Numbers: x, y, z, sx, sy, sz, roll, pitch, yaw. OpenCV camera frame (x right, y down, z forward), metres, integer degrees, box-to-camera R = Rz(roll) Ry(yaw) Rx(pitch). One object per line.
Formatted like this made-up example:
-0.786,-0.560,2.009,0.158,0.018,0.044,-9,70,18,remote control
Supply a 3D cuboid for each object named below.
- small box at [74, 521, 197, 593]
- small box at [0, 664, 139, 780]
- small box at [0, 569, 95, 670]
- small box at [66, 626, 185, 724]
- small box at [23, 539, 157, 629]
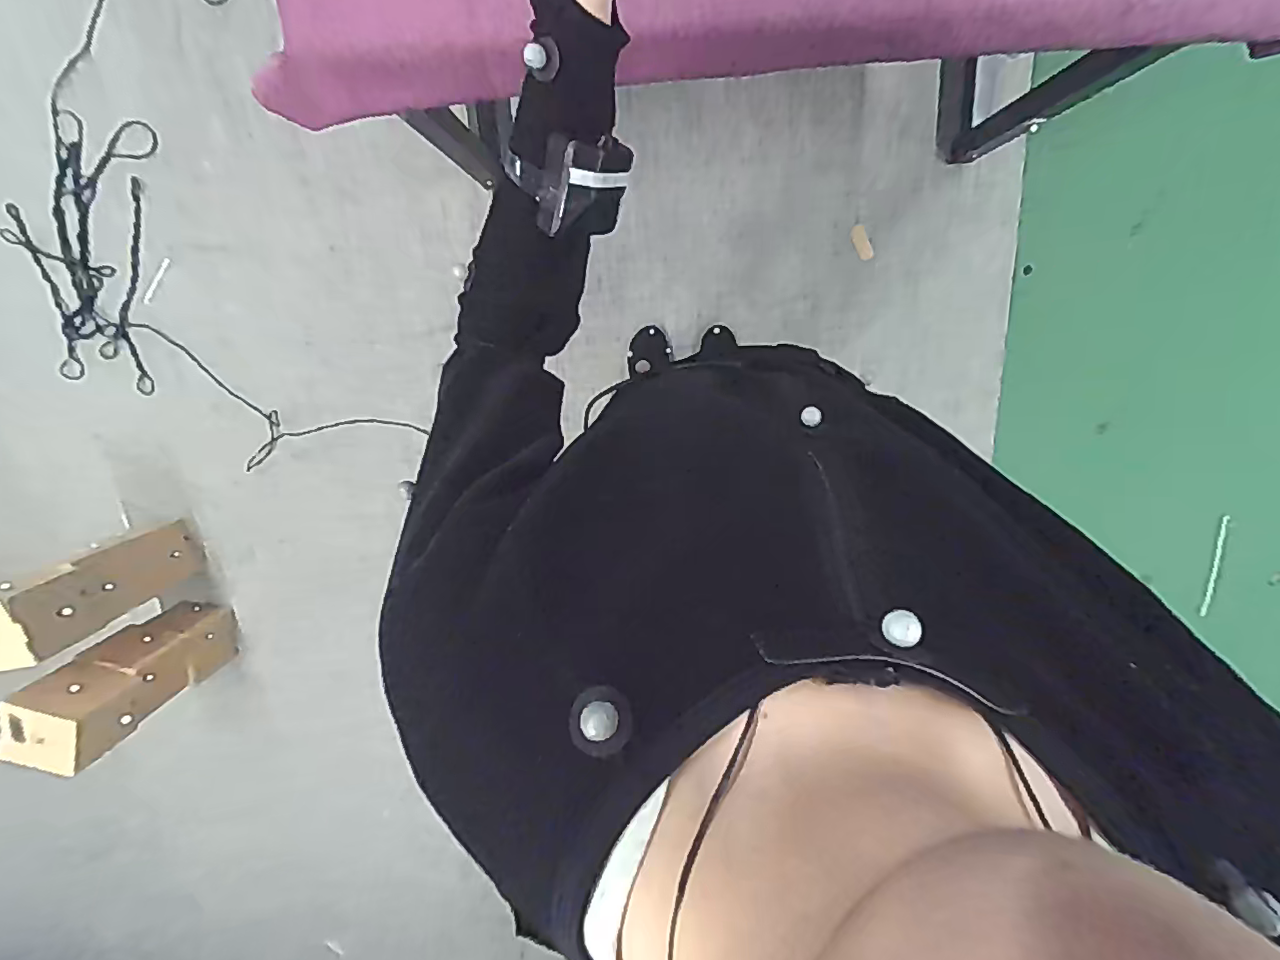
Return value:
-1.417,0.227,1.540,0.179,0.176,0.168,-11,104,5,small box
-1.369,0.569,1.295,0.179,0.176,0.168,18,104,-3,small box
-1.406,0.314,1.226,0.179,0.176,0.168,-8,105,2,small box
-1.373,0.525,1.453,0.168,0.176,0.179,13,104,-1,small box
-1.408,0.275,1.384,0.168,0.176,0.179,-15,105,5,small box
